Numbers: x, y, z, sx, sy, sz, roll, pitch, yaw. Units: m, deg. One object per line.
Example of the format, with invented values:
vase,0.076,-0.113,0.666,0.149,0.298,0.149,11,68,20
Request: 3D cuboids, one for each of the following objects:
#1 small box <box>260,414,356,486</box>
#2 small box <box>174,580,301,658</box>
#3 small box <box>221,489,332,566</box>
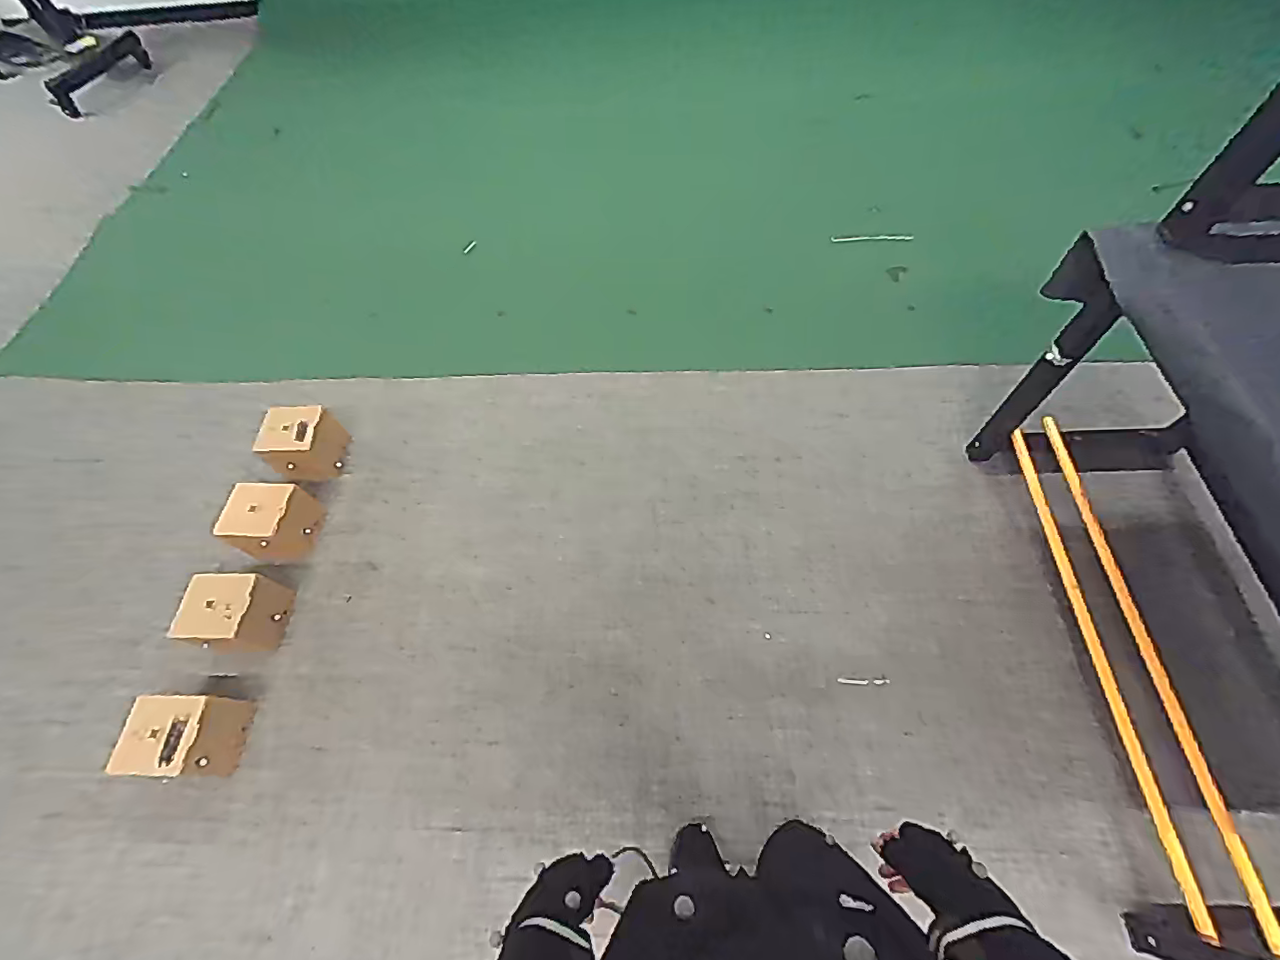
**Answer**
small box,-1.031,-0.091,1.699,0.179,0.176,0.168,-2,59,3
small box,-1.048,0.369,1.423,0.179,0.176,0.168,0,60,4
small box,-1.040,0.140,1.562,0.179,0.176,0.168,1,59,4
